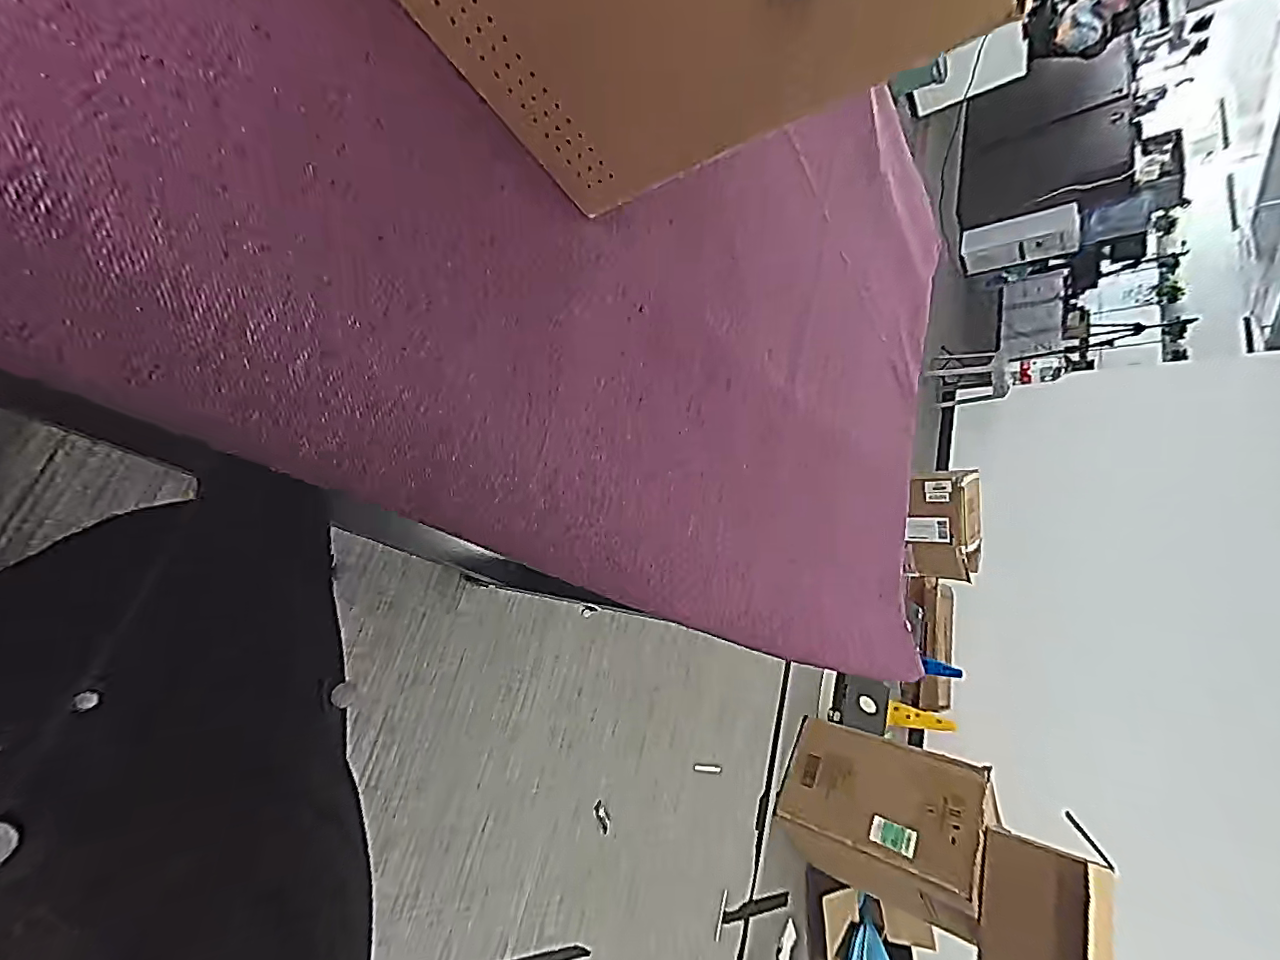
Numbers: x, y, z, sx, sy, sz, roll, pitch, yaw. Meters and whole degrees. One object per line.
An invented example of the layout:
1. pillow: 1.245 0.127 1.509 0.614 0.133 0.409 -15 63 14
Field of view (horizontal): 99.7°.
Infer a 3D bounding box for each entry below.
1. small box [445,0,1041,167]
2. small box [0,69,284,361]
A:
1. small box: 0.017 -0.234 0.166 0.179 0.176 0.168 36 62 -44
2. small box: -0.511 -0.256 0.554 0.179 0.176 0.168 34 30 -47
